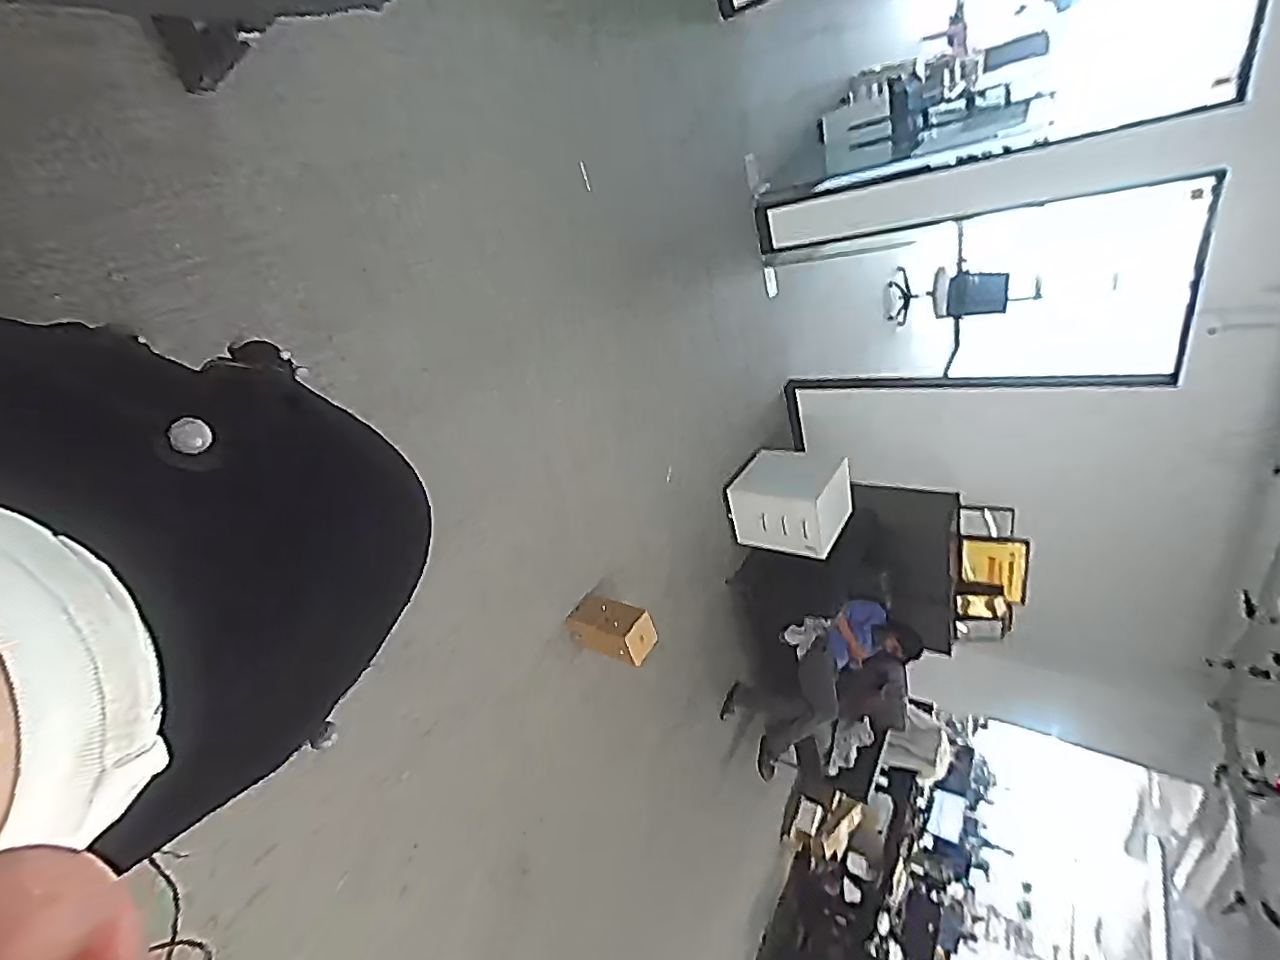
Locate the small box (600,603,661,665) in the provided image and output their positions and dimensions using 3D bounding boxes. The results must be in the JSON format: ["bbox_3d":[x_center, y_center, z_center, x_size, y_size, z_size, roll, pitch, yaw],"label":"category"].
[{"bbox_3d":[-0.041,0.636,2.260,0.168,0.176,0.179,-47,131,-38],"label":"small box"}]

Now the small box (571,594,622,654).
[{"bbox_3d":[-0.170,0.621,2.357,0.168,0.176,0.179,-45,128,-40],"label":"small box"}]
